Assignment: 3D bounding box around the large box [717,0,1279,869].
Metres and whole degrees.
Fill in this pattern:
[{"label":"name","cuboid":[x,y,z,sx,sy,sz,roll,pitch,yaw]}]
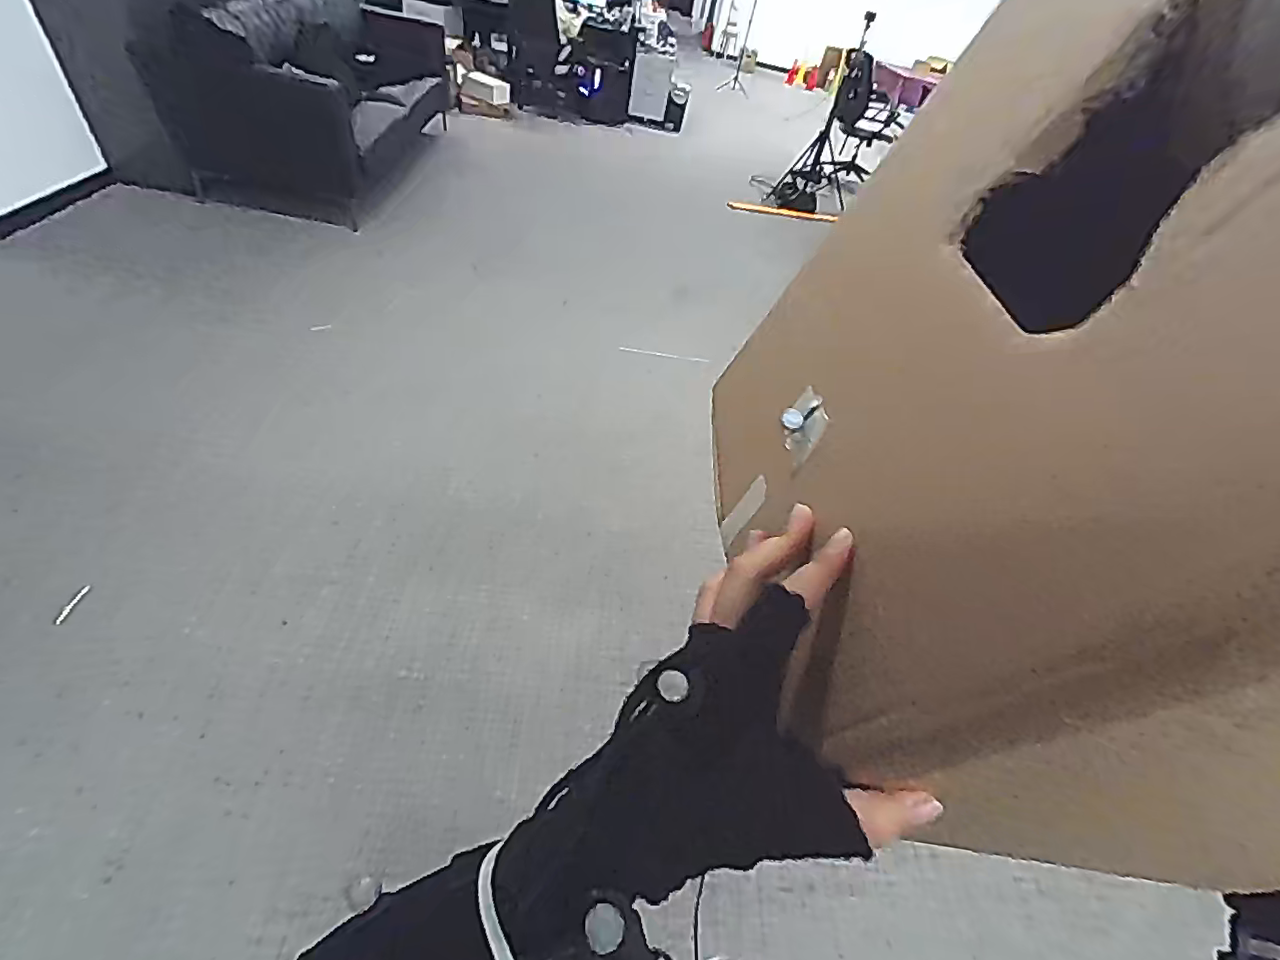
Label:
[{"label":"large box","cuboid":[0.301,0.011,0.317,0.408,0.320,0.320,20,46,-18]}]
